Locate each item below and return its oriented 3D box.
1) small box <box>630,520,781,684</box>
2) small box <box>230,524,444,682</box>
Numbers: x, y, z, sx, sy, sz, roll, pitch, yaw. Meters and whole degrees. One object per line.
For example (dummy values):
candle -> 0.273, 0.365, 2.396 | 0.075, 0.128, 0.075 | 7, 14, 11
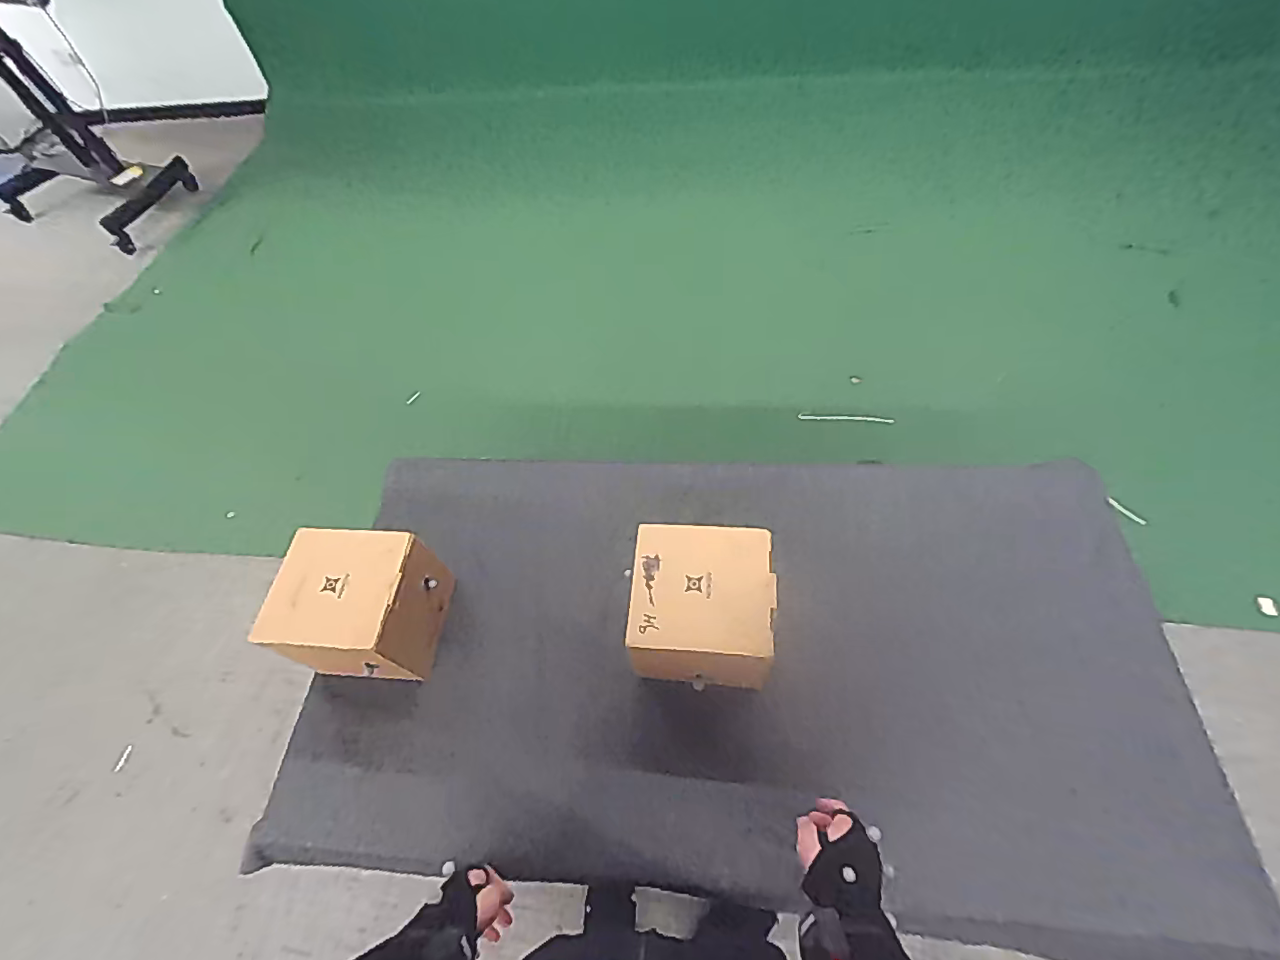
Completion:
small box -> 0.084, 0.170, 0.729 | 0.179, 0.176, 0.168 | 3, 57, 4
small box -> -0.397, 0.174, 0.750 | 0.179, 0.176, 0.168 | 1, 56, 5
